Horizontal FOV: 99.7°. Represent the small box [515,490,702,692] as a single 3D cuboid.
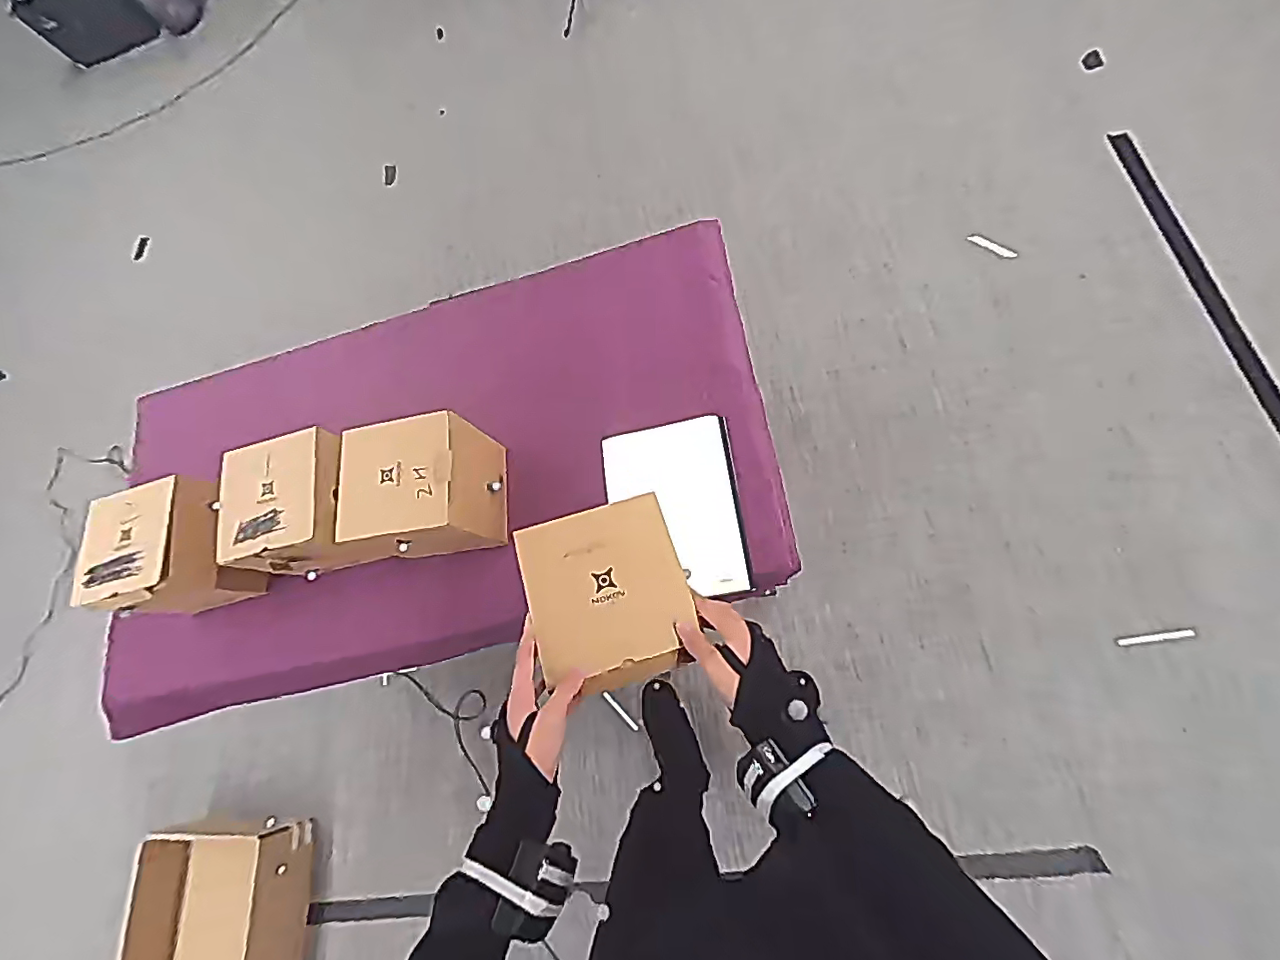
[{"bbox_3d":[-0.034,0.139,0.634,0.168,0.176,0.179,-15,64,-6],"label":"small box"}]
